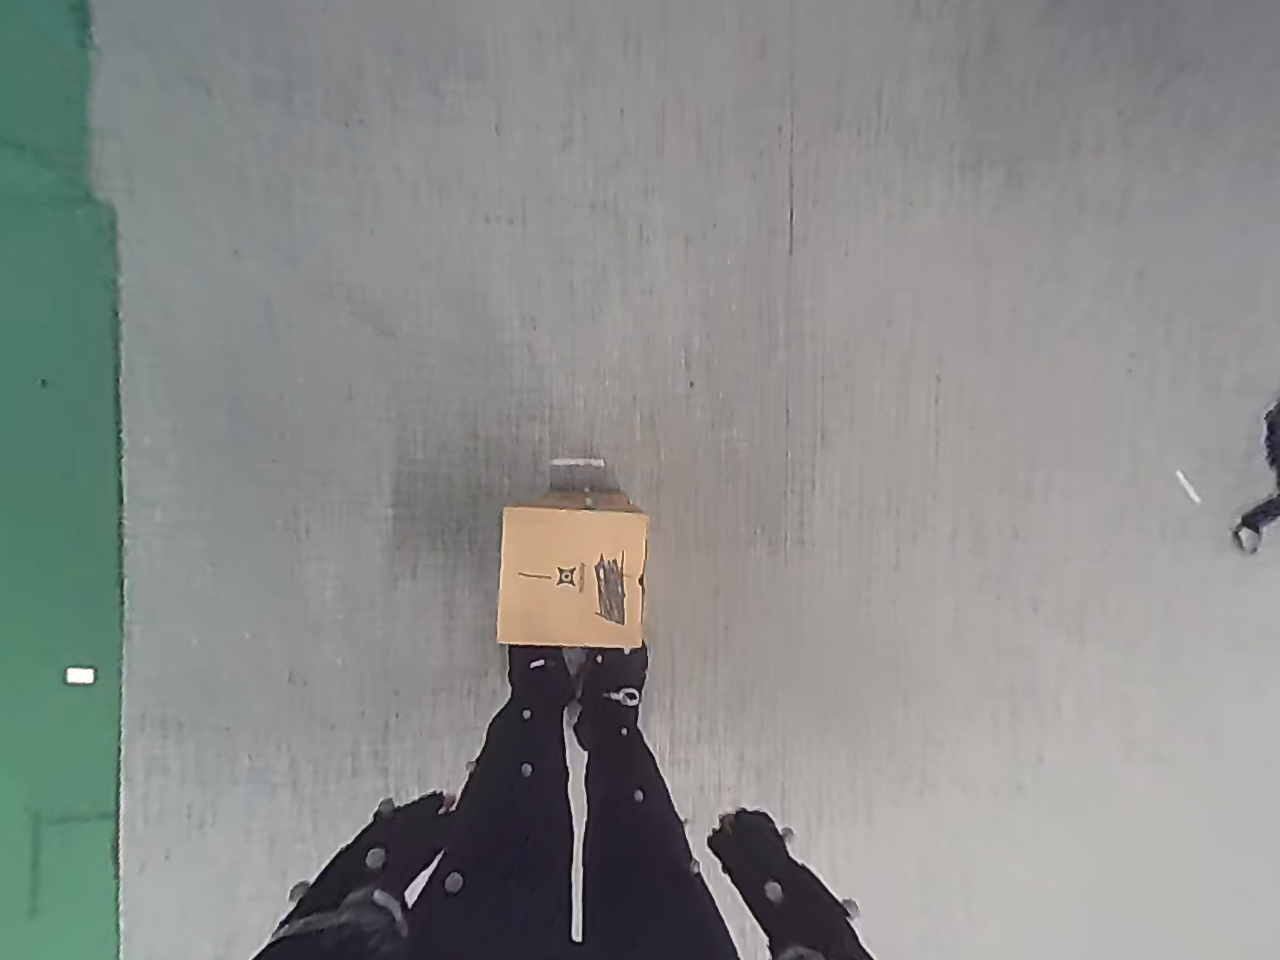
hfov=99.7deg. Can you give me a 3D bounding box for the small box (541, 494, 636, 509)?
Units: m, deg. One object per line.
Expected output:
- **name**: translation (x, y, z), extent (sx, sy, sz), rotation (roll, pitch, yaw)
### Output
- **small box**: translation (-0.100, 0.114, 1.062), extent (0.179, 0.176, 0.168), rotation (1, 90, -3)

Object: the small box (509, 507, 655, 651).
- **small box**: translation (-0.079, 0.123, 0.735), extent (0.179, 0.176, 0.168), rotation (0, 91, -6)
